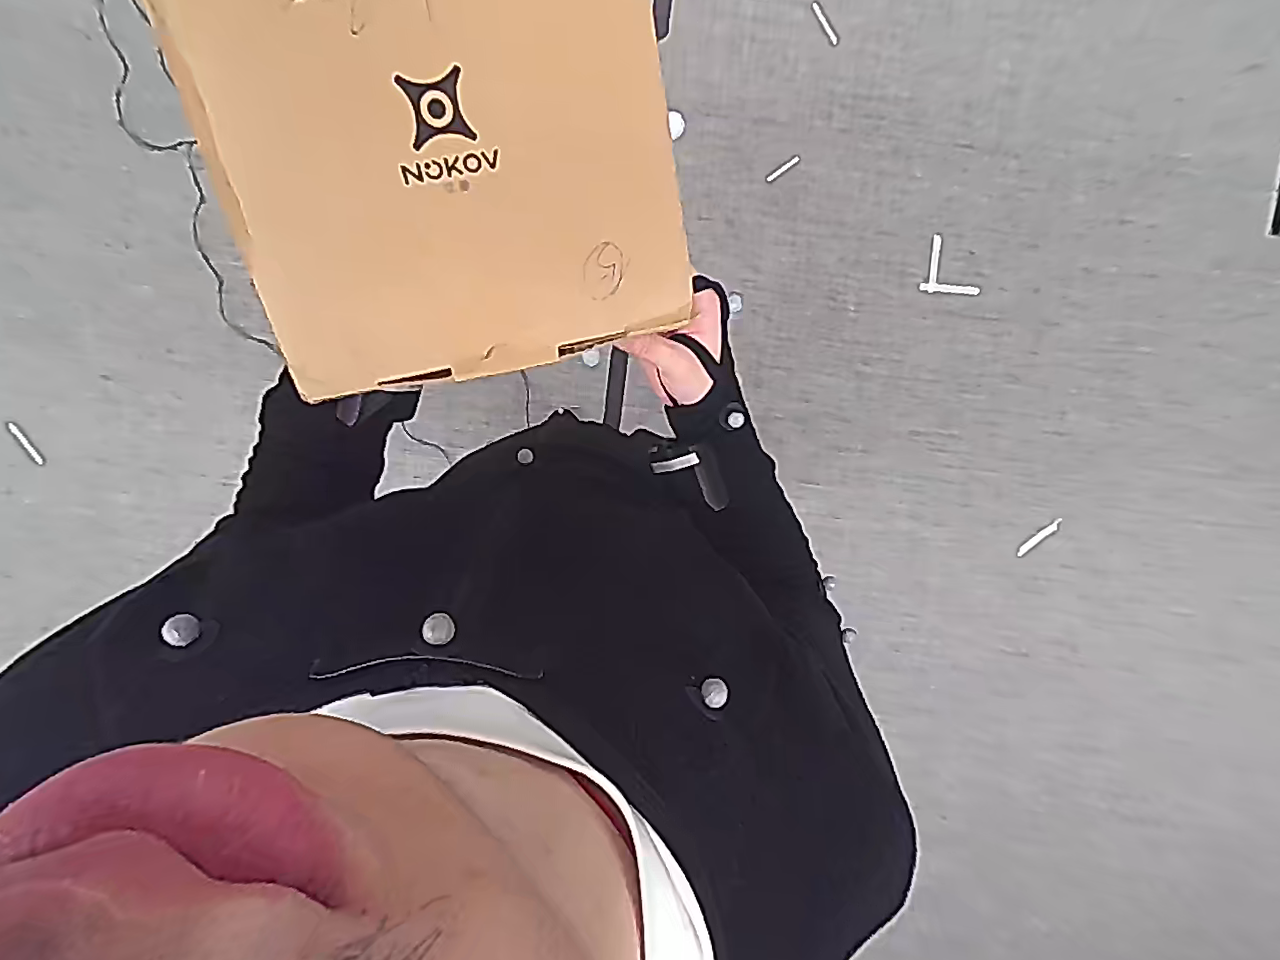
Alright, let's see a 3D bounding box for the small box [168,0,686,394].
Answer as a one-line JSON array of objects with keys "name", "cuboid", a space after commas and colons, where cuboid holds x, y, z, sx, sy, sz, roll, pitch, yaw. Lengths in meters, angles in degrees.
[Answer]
[{"name": "small box", "cuboid": [-0.082, -0.157, 0.283, 0.168, 0.176, 0.179, -13, 108, -4]}]
